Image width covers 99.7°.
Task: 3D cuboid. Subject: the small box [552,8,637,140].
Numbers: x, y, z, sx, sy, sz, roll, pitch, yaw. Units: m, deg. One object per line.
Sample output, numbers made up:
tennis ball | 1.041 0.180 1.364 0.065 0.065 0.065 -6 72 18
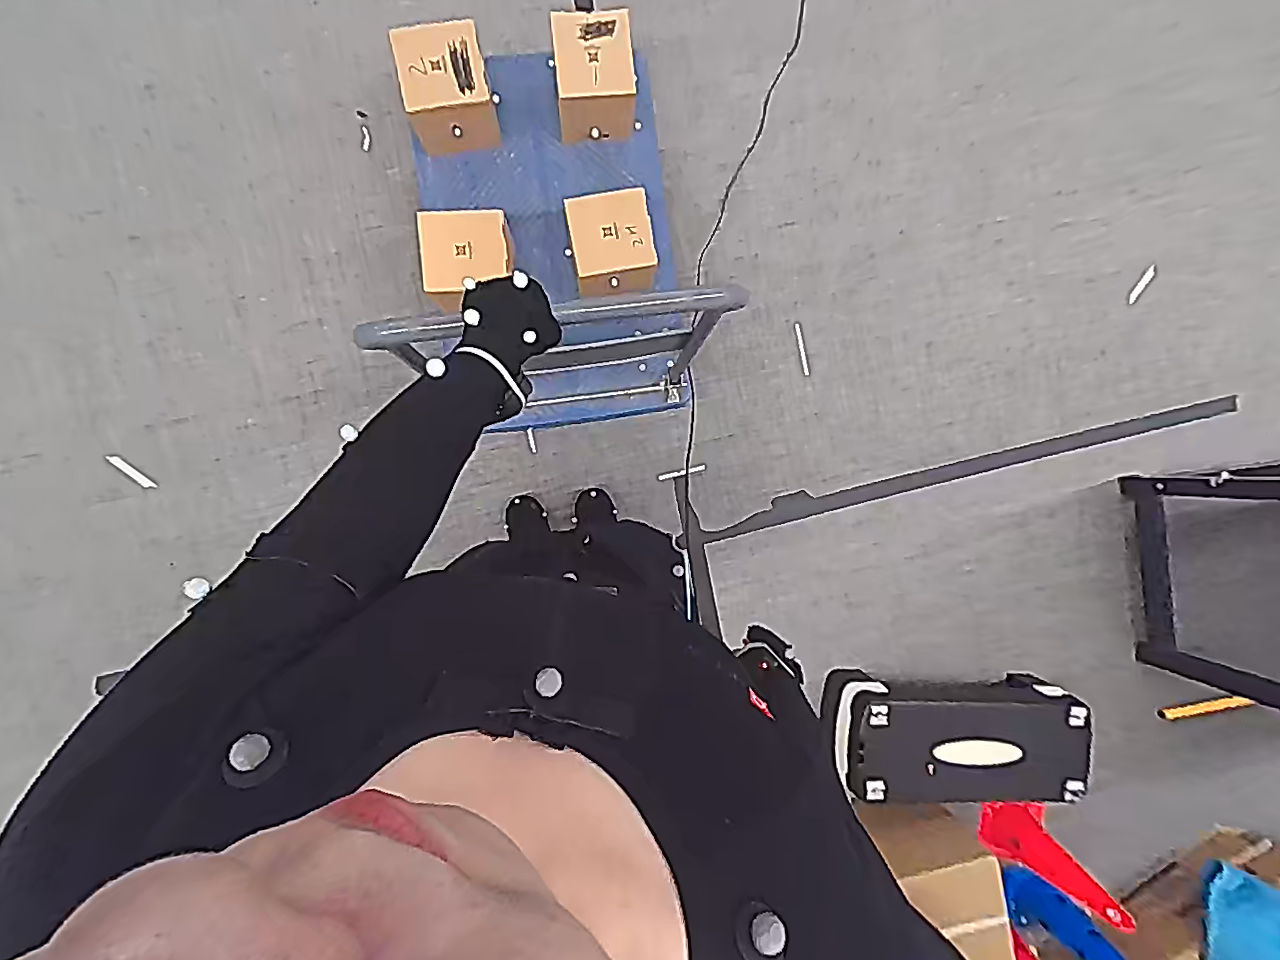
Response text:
small box | -0.102 -0.896 1.204 0.168 0.176 0.179 -7 94 -5

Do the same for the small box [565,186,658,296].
small box | -0.065 -0.529 1.220 0.179 0.176 0.168 -11 93 -4

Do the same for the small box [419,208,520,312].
small box | -0.369 -0.478 1.196 0.179 0.176 0.168 -5 92 -6
